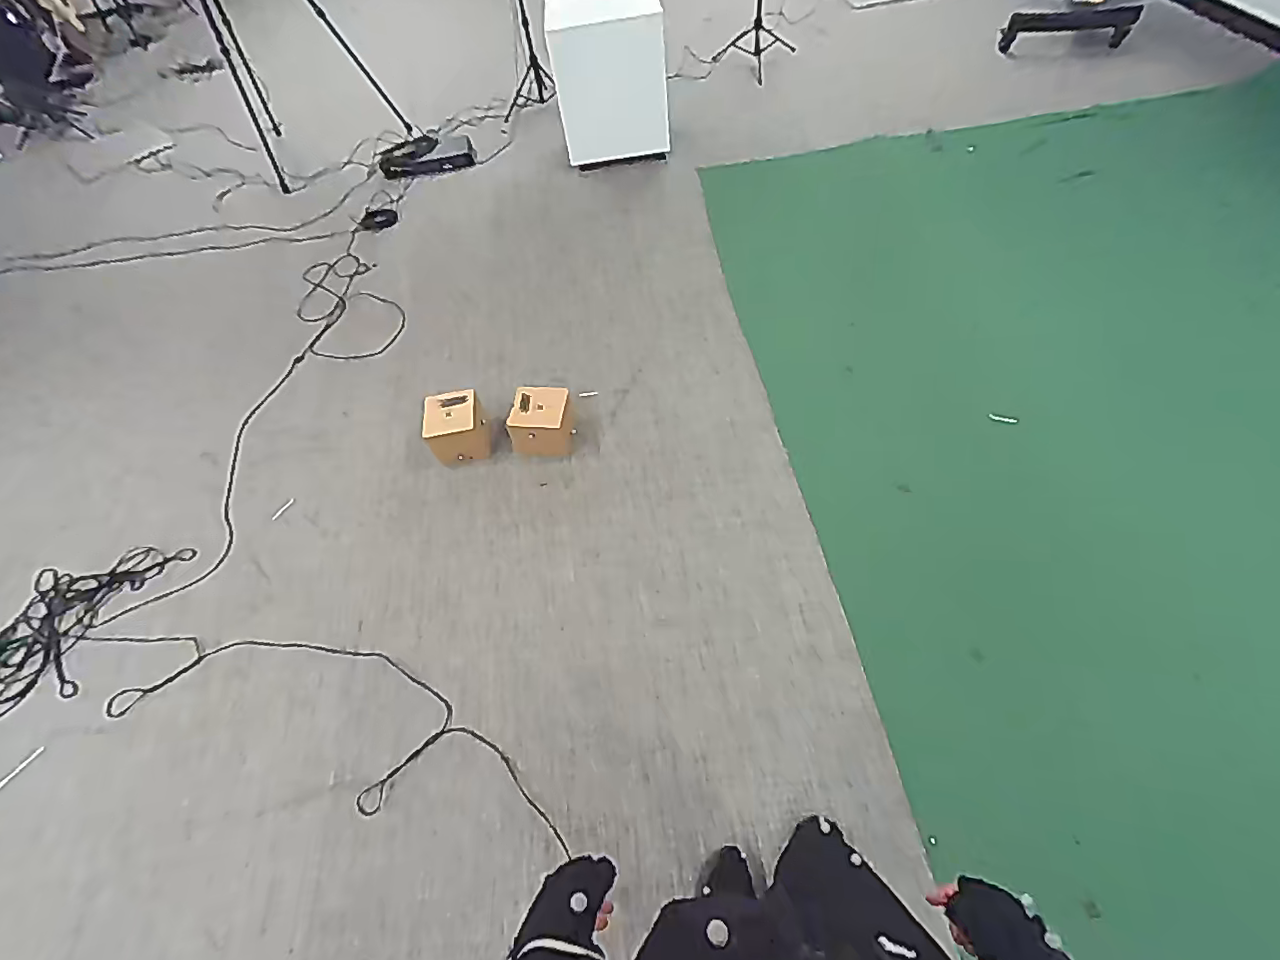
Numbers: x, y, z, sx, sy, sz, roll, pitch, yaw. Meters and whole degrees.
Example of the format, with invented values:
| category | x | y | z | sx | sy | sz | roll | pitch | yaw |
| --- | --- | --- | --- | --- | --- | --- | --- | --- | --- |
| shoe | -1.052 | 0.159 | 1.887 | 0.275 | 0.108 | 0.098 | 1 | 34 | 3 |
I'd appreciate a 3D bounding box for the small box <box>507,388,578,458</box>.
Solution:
| category | x | y | z | sx | sy | sz | roll | pitch | yaw |
| --- | --- | --- | --- | --- | --- | --- | --- | --- | --- |
| small box | -0.316 | -0.186 | 1.790 | 0.179 | 0.176 | 0.168 | 4 | 58 | 7 |
